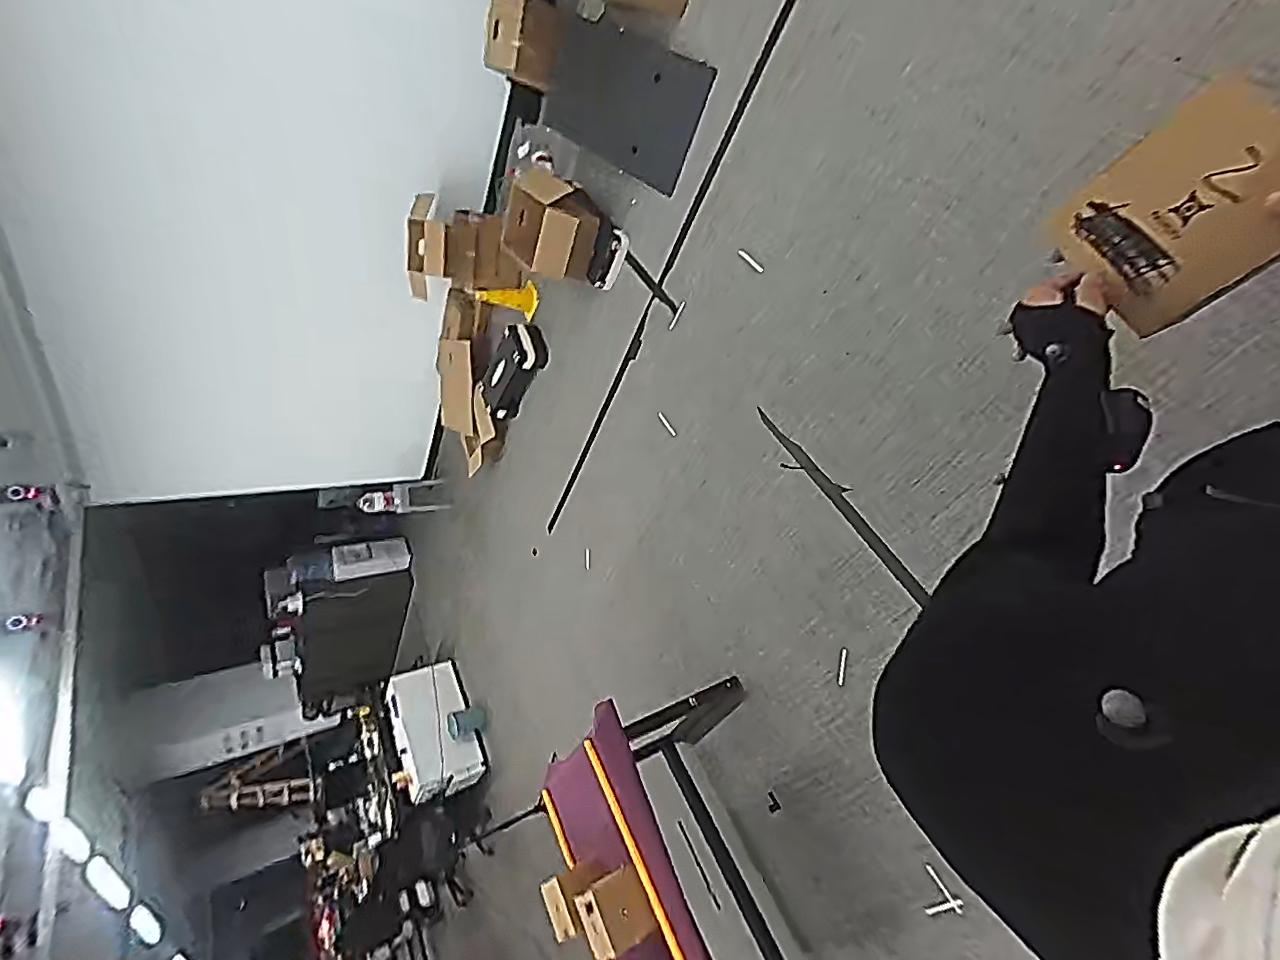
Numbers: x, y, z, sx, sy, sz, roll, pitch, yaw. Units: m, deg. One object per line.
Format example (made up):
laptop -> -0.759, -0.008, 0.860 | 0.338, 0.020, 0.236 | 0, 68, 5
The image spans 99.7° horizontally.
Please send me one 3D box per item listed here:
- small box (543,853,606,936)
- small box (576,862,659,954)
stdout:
small box -> -0.213, 1.450, 1.903 | 0.179, 0.176, 0.168 | 58, 135, 29
small box -> -0.071, 1.337, 1.699 | 0.179, 0.176, 0.168 | 59, 138, 28
